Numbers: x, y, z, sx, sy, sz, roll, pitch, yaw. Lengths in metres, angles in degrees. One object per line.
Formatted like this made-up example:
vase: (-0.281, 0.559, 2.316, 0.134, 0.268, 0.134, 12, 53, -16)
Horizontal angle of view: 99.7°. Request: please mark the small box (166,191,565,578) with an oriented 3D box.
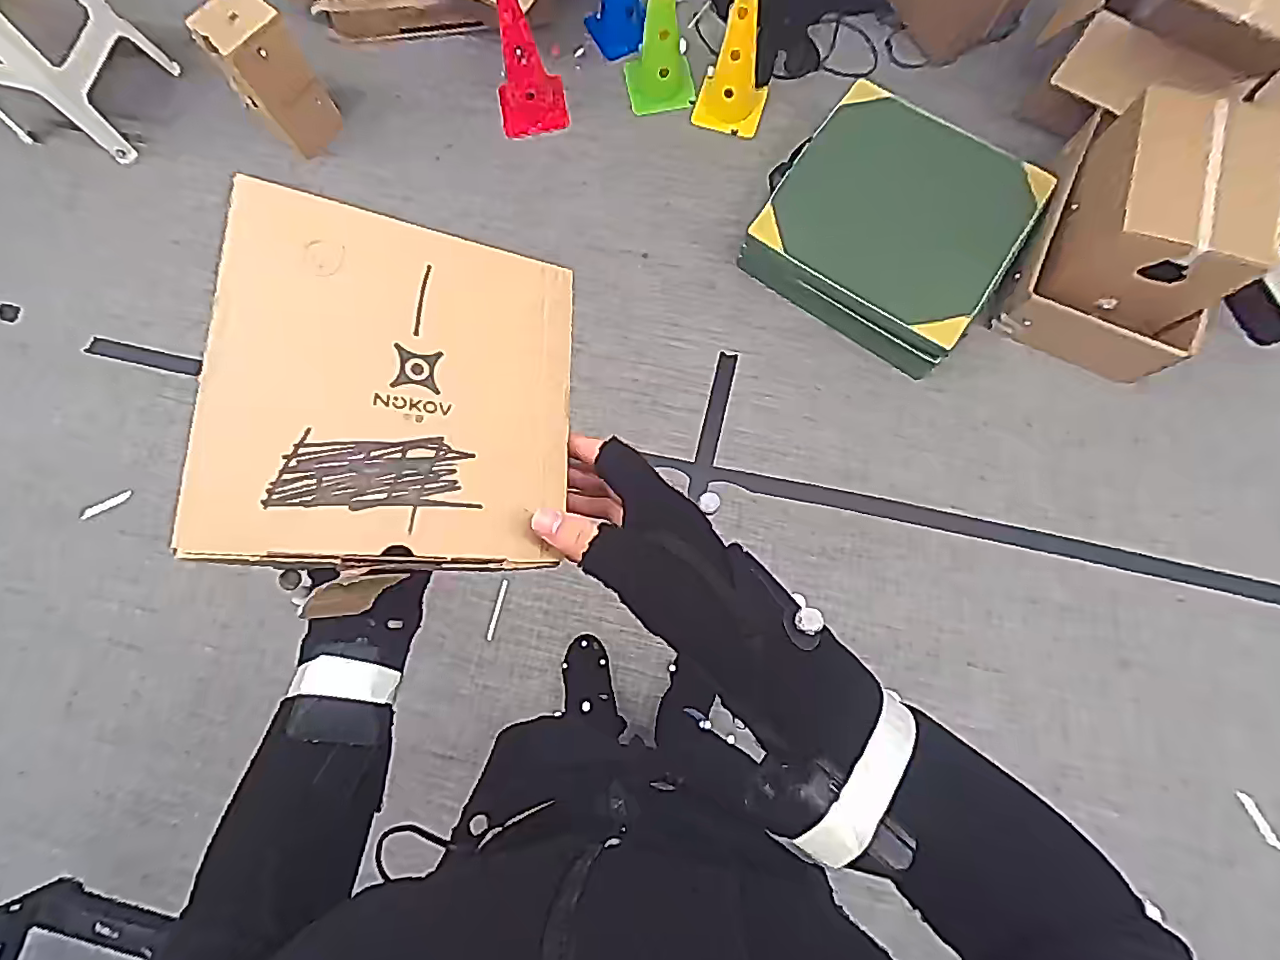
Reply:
small box: (-0.155, -0.029, 0.340, 0.168, 0.176, 0.179, 6, 77, -28)
